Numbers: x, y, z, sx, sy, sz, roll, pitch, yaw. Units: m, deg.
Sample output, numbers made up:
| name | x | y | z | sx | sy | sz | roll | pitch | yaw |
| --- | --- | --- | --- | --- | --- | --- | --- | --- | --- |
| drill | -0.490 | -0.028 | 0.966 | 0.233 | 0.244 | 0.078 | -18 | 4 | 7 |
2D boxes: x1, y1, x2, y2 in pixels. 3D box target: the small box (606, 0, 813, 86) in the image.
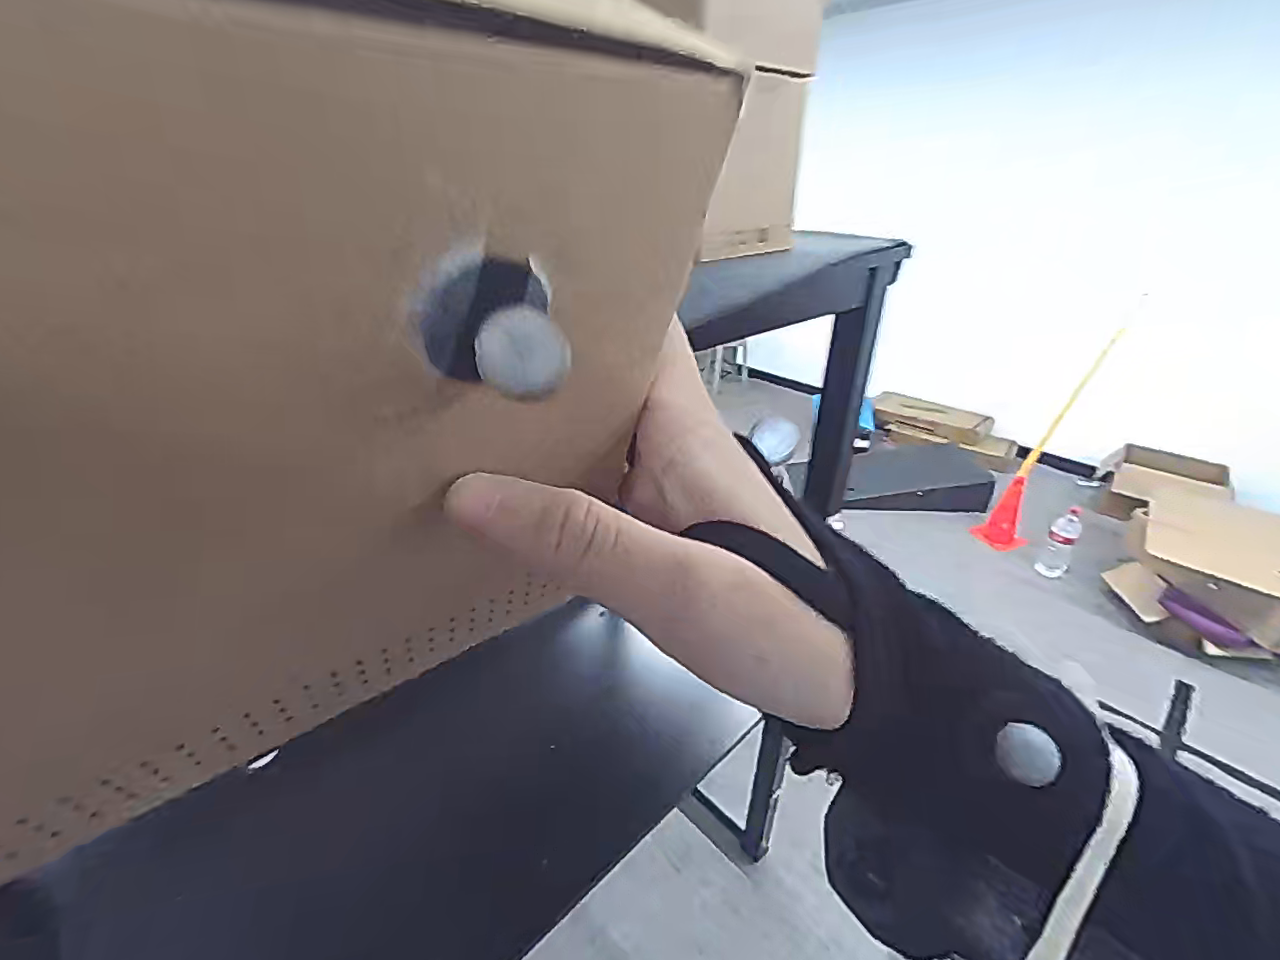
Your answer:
| name | x | y | z | sx | sy | sz | roll | pitch | yaw |
| --- | --- | --- | --- | --- | --- | --- | --- | --- | --- |
| small box | 0.058 | -0.485 | 0.527 | 0.179 | 0.176 | 0.168 | -25 | 35 | -35 |
